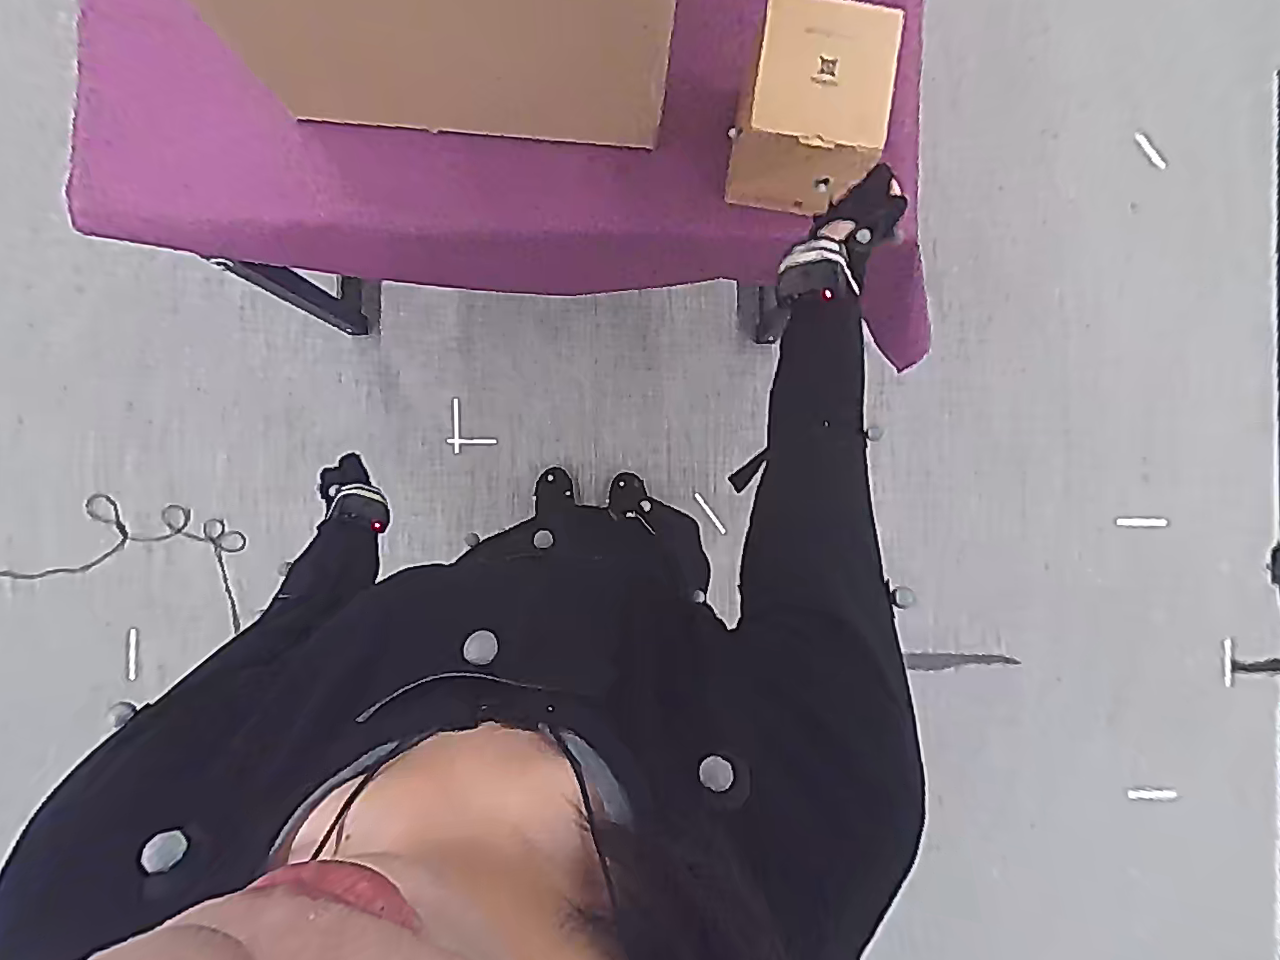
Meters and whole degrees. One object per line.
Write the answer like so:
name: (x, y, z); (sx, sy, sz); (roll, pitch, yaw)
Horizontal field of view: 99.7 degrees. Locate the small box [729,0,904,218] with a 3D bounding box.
small box: (0.223, -0.484, 0.727); (0.168, 0.176, 0.179); (8, 88, -3)
